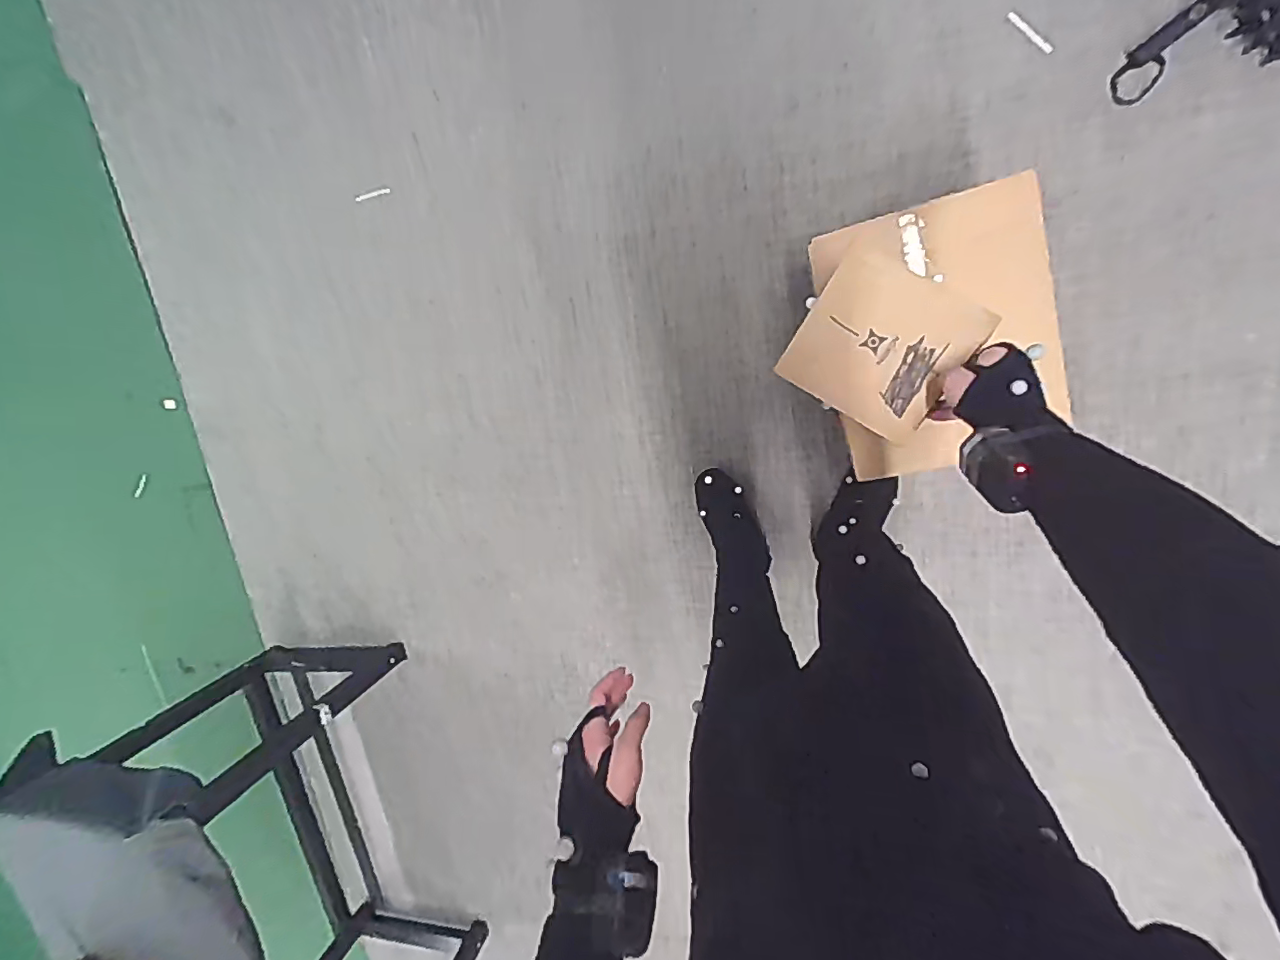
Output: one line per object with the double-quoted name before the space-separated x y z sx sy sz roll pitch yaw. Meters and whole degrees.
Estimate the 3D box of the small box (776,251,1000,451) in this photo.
"small box" 0.299 -0.162 0.680 0.179 0.176 0.168 33 113 11
